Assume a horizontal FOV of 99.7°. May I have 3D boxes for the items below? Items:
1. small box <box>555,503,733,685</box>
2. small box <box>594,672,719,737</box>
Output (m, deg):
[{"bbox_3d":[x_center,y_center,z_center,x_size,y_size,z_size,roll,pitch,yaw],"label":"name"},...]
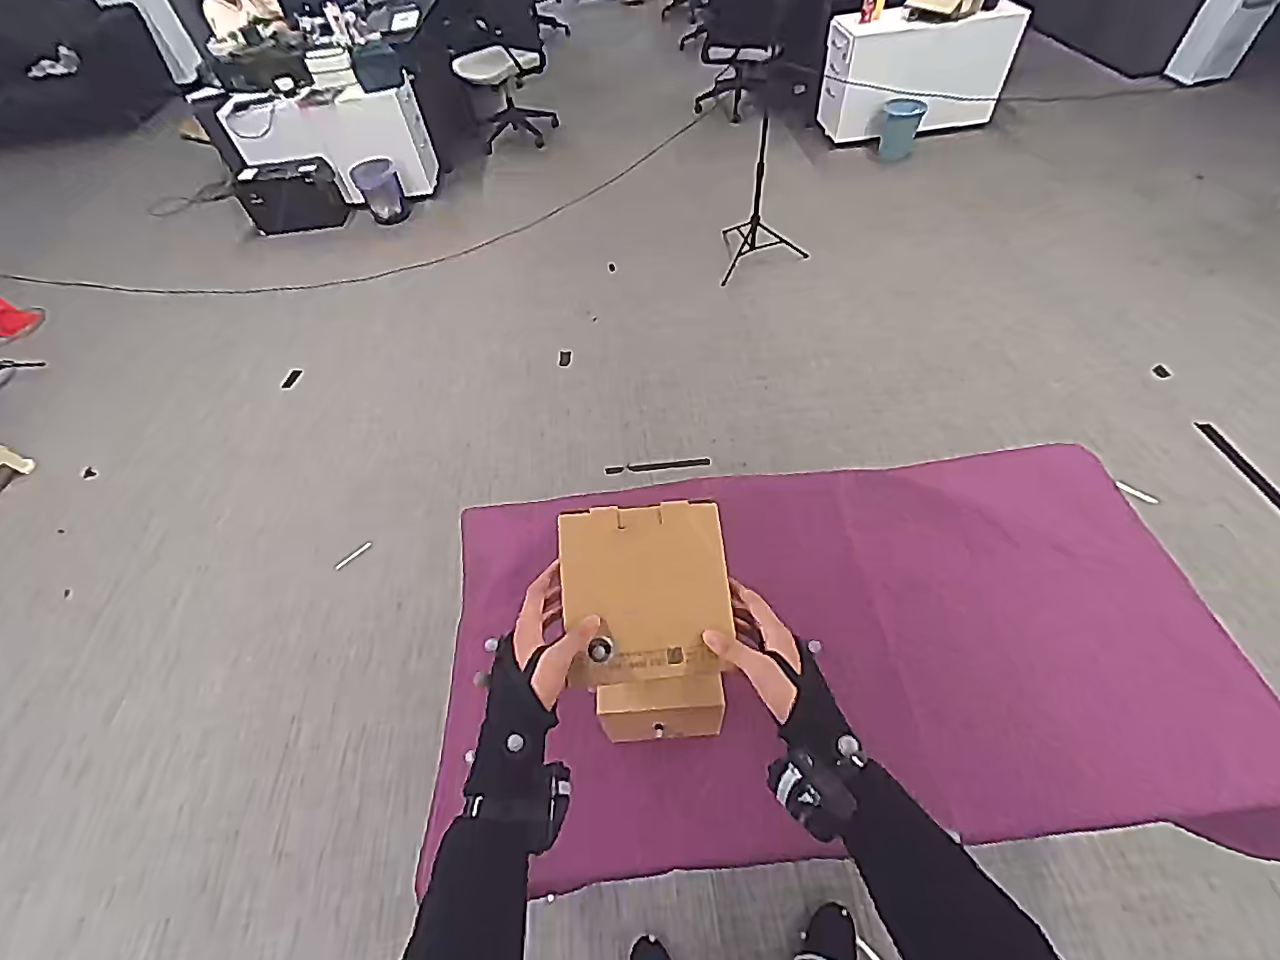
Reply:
[{"bbox_3d":[-0.001,0.131,0.604,0.168,0.179,0.176,-3,75,-5],"label":"small box"},{"bbox_3d":[0.025,0.273,0.802,0.168,0.176,0.179,-4,53,1],"label":"small box"}]
